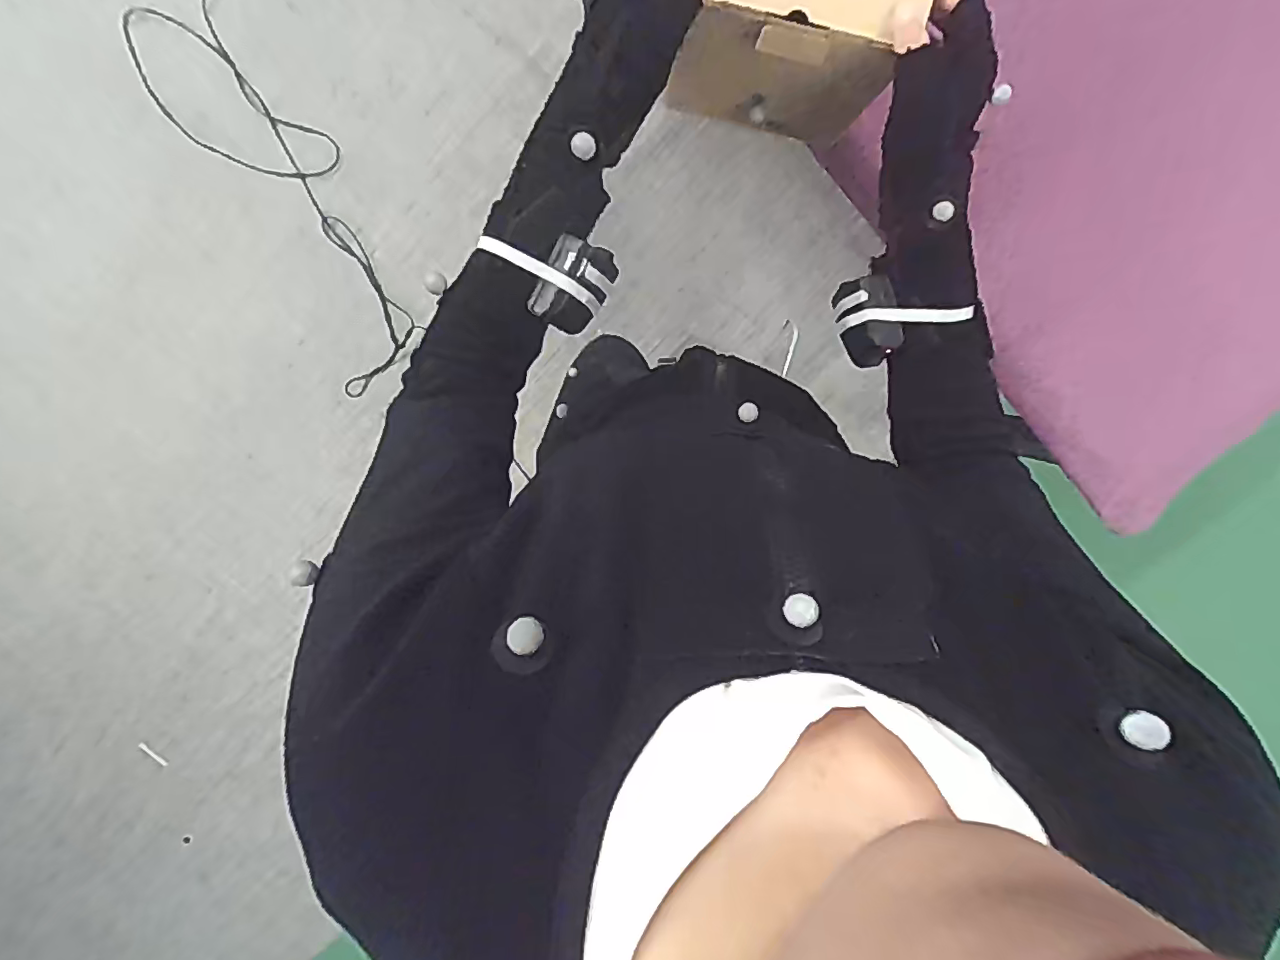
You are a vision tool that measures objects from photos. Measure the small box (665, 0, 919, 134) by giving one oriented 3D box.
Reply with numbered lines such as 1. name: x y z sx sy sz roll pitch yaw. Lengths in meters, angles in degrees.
1. small box: 0.116 -0.406 0.411 0.168 0.176 0.179 12 103 -2
